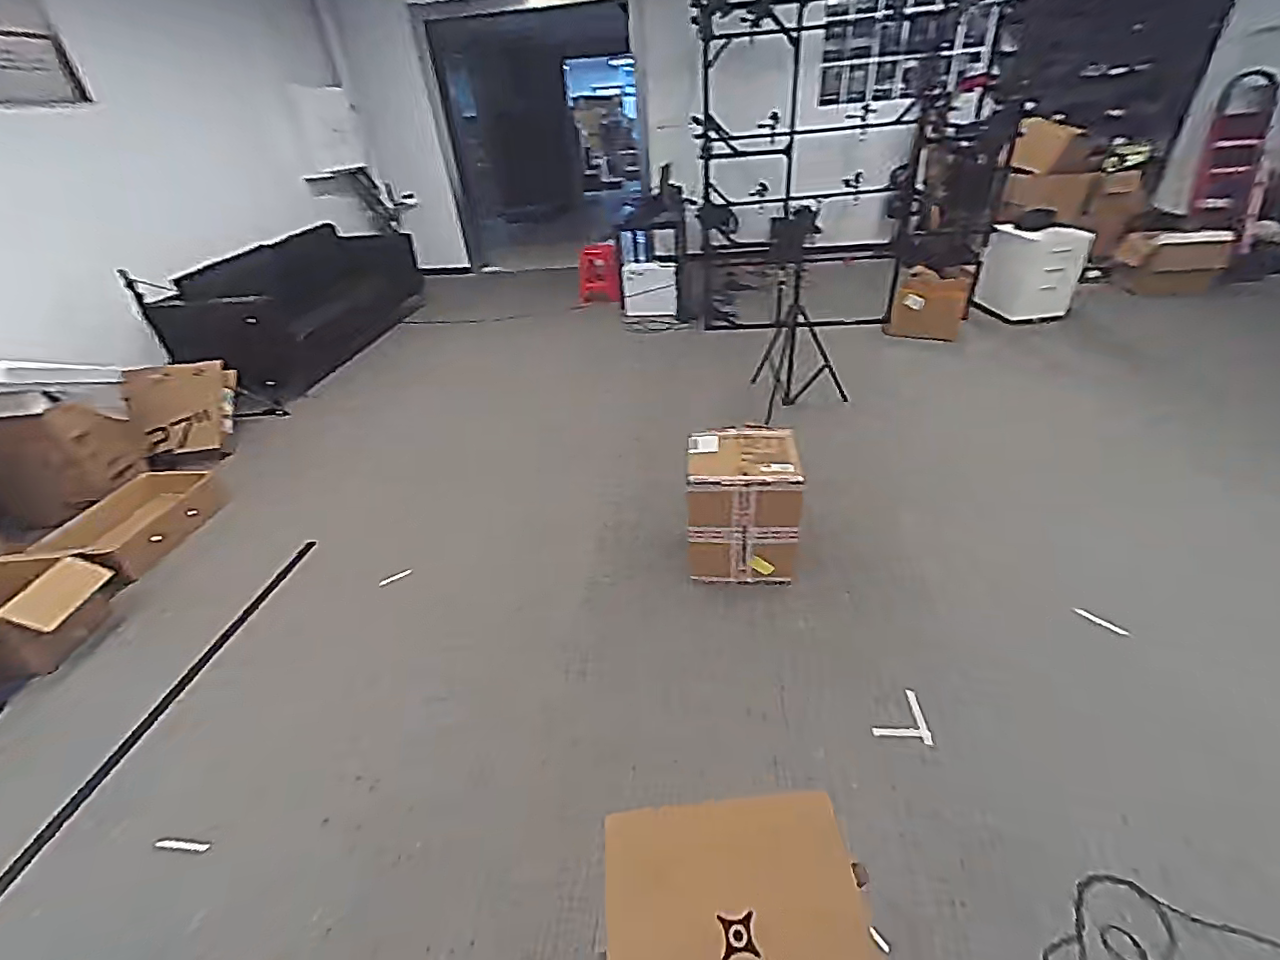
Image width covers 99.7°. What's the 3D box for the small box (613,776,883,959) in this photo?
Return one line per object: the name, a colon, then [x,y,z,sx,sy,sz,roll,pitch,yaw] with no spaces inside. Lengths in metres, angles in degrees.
small box: [0.073,0.345,0.388,0.168,0.176,0.179,-8,39,3]
